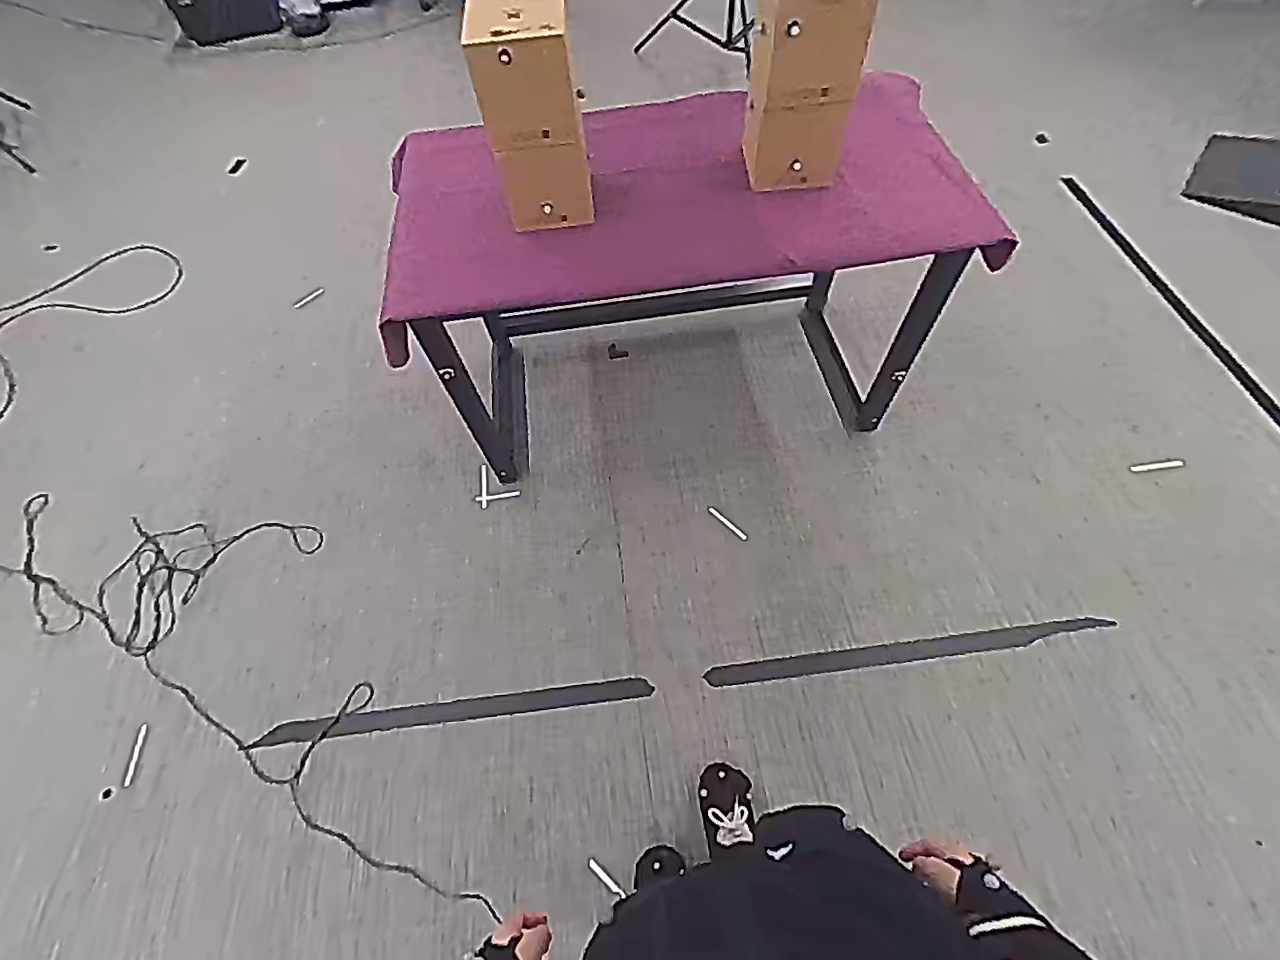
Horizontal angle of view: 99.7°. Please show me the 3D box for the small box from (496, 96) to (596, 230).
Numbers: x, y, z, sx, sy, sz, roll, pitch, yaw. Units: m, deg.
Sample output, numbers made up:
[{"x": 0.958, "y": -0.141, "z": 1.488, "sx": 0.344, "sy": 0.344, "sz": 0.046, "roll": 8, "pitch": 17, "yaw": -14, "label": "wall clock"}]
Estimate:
[{"x": -0.183, "y": -0.635, "z": 1.088, "sx": 0.168, "sy": 0.176, "sz": 0.179, "roll": -7, "pitch": 62, "yaw": 0, "label": "small box"}]

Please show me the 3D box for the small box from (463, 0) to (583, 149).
[{"x": -0.194, "y": -0.714, "z": 0.945, "sx": 0.168, "sy": 0.176, "sz": 0.179, "roll": -6, "pitch": 60, "yaw": 1, "label": "small box"}]

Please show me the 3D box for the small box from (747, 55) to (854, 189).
[{"x": 0.316, "y": -0.727, "z": 1.105, "sx": 0.168, "sy": 0.176, "sz": 0.179, "roll": -3, "pitch": 61, "yaw": 3, "label": "small box"}]
